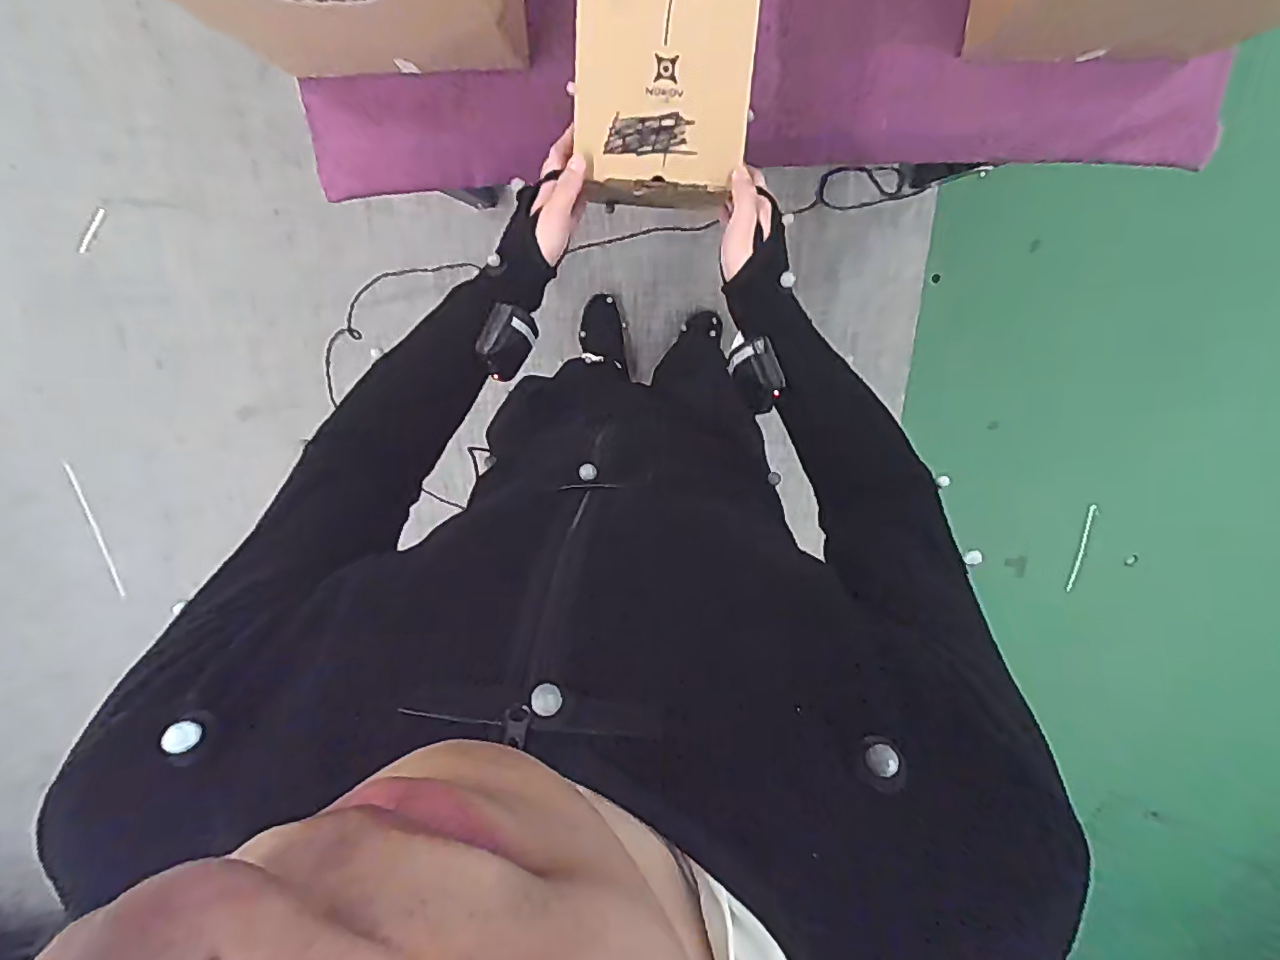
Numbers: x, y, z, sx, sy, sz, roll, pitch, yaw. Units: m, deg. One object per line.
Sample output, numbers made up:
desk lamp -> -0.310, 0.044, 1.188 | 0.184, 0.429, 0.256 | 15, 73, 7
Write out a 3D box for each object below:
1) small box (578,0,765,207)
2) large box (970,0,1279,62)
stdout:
small box -> 0.025, -0.398, 0.574 | 0.168, 0.176, 0.179 | 2, 109, -2
large box -> 0.567, -0.680, 0.493 | 0.320, 0.320, 0.408 | -1, 111, 0
